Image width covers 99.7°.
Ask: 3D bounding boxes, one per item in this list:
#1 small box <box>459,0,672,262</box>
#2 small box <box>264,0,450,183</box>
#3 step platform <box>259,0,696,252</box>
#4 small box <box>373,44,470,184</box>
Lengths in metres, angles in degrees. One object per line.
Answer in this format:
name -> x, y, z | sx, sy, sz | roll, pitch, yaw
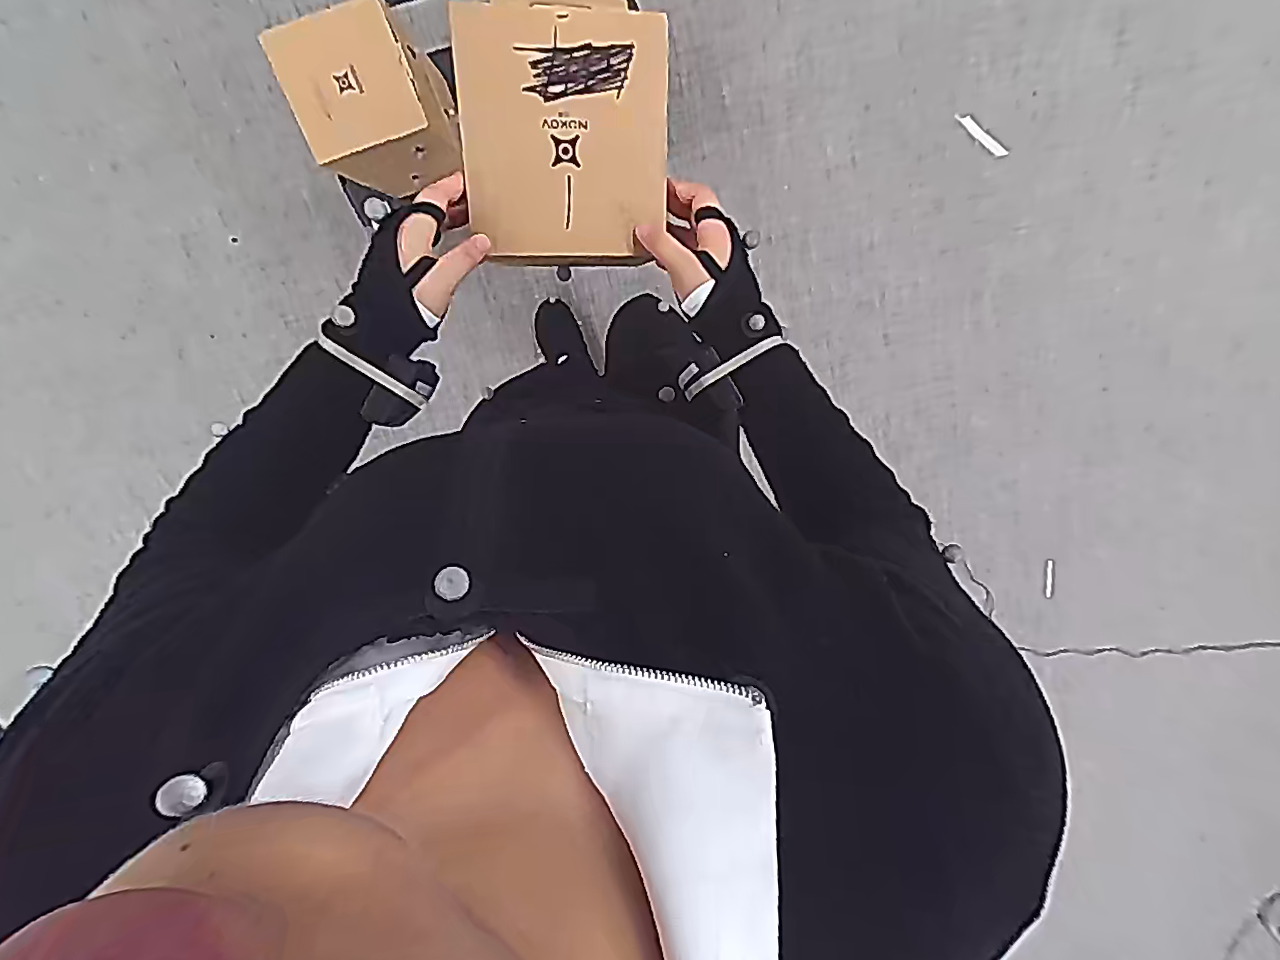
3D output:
small box -> -0.069, -0.307, 0.512 | 0.168, 0.176, 0.179 | -2, 110, -8
small box -> -0.411, -0.582, 0.830 | 0.179, 0.176, 0.168 | -18, 110, 2
step platform -> -0.258, -0.639, 0.957 | 0.684, 0.204, 0.286 | -16, 110, 1
small box -> -0.423, -0.639, 0.983 | 0.179, 0.176, 0.168 | -18, 111, 3
